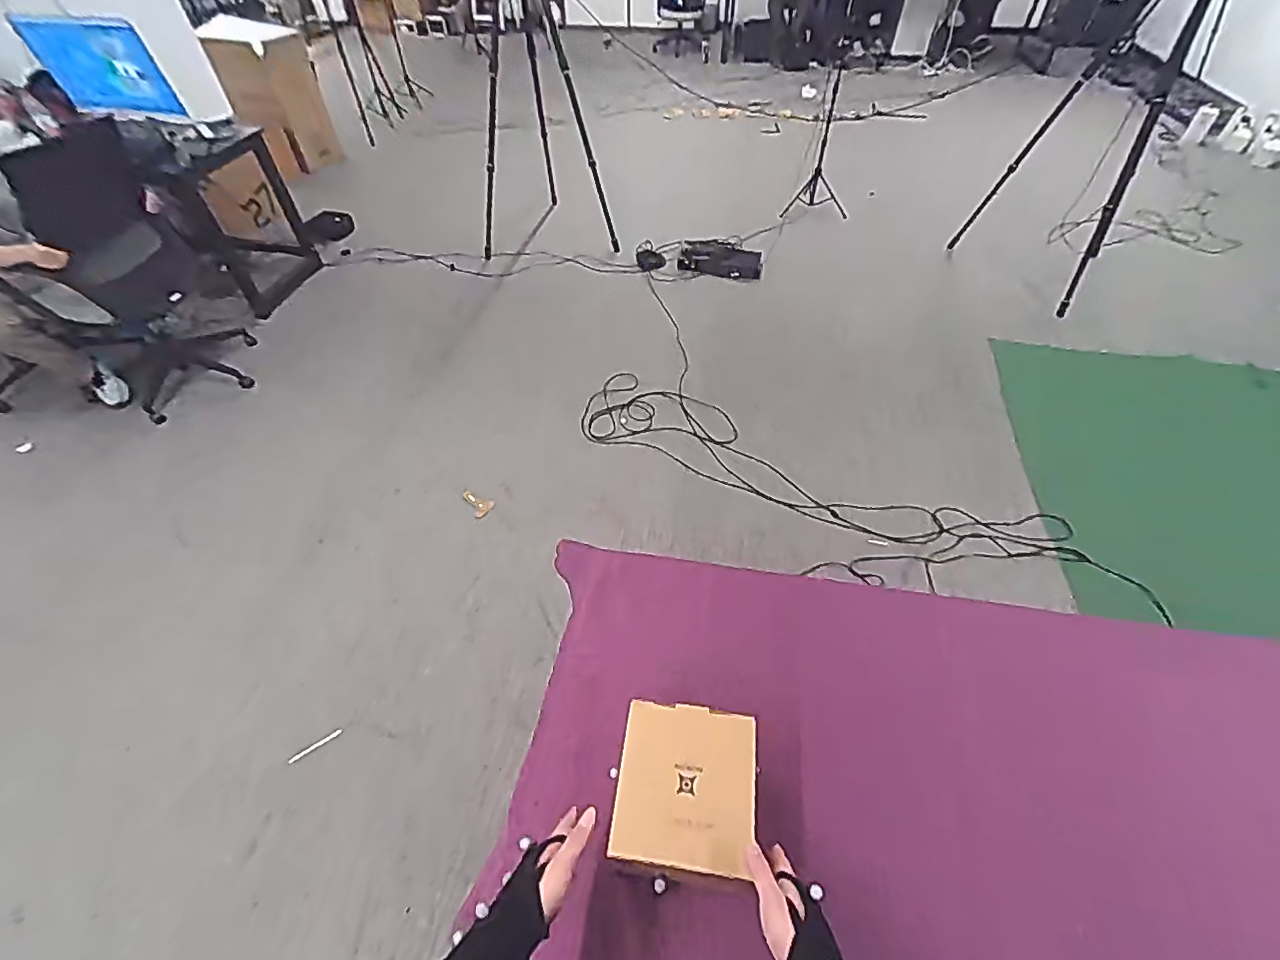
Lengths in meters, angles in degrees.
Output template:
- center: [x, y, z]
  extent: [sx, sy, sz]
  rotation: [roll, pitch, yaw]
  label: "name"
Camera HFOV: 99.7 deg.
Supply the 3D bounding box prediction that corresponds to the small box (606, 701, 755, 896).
- center: [0.055, 0.416, 0.707]
  extent: [0.168, 0.176, 0.179]
  rotation: [6, 50, 7]
  label: "small box"
